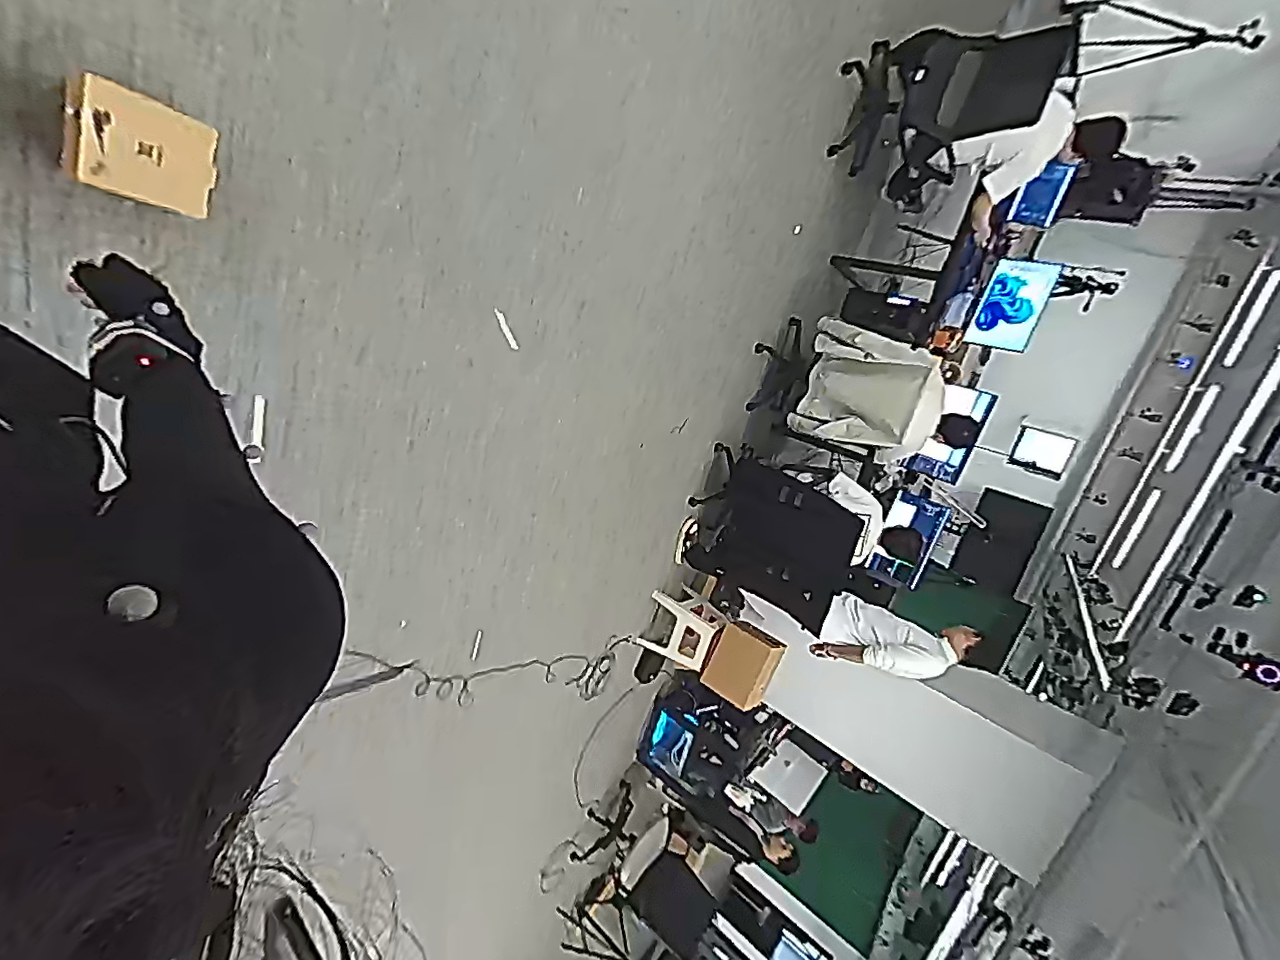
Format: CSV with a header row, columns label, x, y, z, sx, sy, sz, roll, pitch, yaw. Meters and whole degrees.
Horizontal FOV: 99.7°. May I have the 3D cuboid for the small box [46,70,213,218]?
label,x,y,z,sx,sy,sz,roll,pitch,yaw
small box,-0.911,-0.597,0.966,0.179,0.176,0.168,1,111,-56
